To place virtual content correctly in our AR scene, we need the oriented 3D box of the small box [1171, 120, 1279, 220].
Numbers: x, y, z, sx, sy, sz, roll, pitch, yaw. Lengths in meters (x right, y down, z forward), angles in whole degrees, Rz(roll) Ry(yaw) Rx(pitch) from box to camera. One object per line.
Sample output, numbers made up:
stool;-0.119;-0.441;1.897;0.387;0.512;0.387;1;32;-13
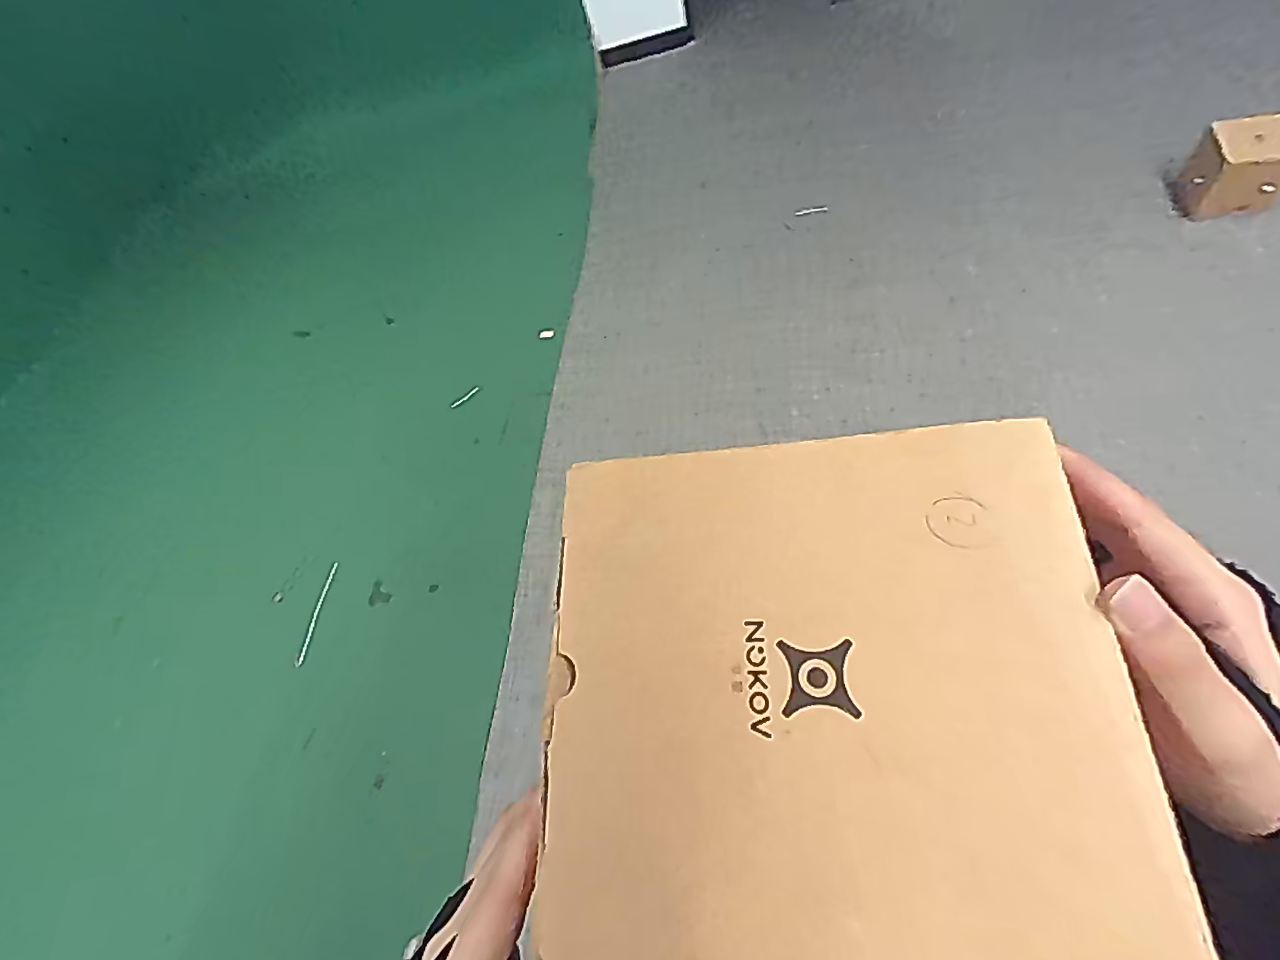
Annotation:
small box;1.594;-0.823;1.456;0.168;0.176;0.179;3;62;17
